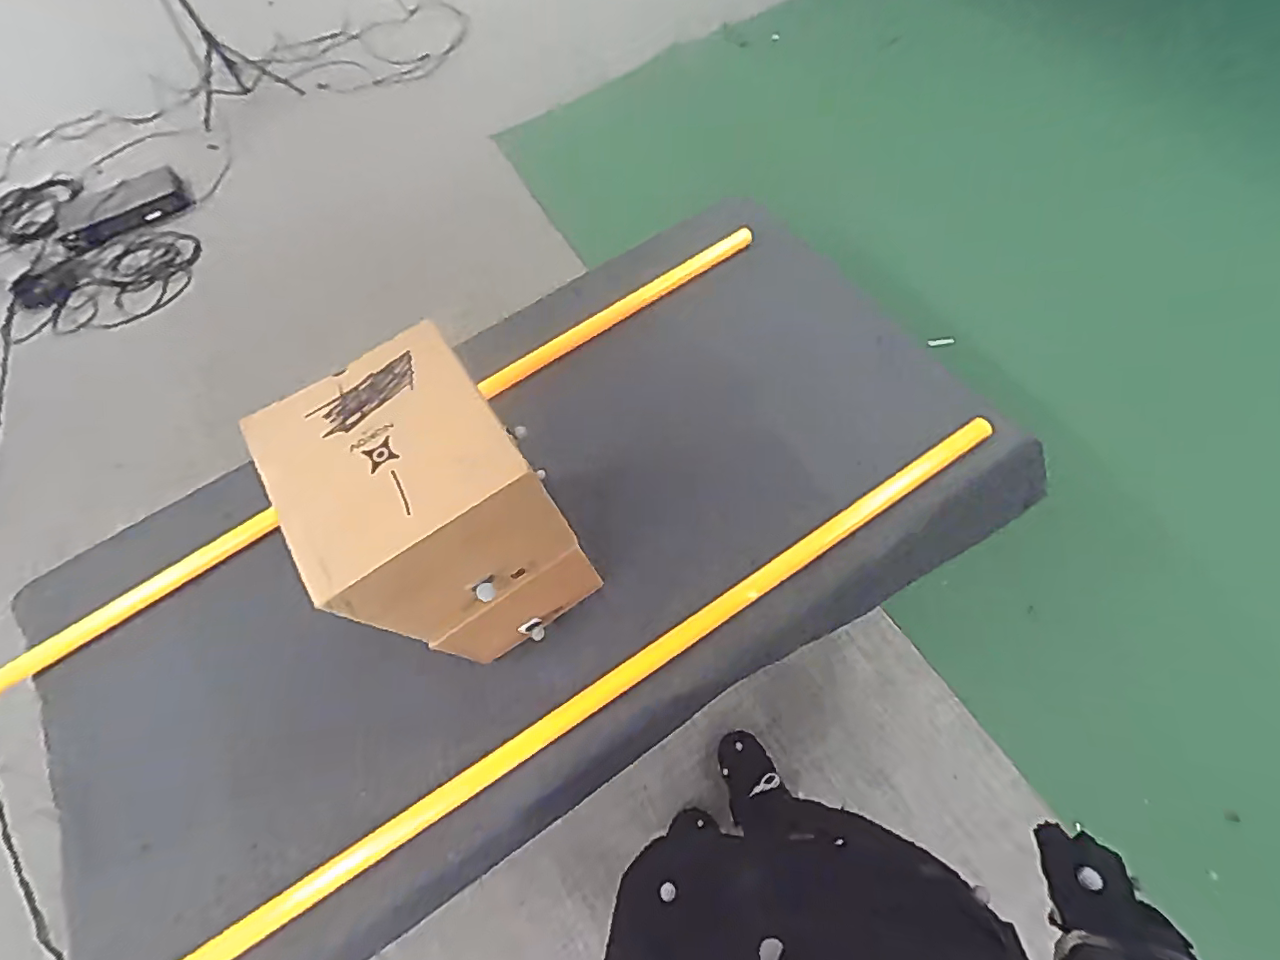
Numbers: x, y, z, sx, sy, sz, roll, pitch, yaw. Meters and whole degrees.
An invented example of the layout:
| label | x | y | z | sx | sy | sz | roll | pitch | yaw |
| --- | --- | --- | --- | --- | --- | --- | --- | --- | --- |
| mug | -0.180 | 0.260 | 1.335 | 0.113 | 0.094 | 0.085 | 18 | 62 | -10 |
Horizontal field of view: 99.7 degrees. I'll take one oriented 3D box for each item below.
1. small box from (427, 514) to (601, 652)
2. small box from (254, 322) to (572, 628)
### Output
| label | x | y | z | sx | sy | sz | roll | pitch | yaw |
| --- | --- | --- | --- | --- | --- | --- | --- | --- | --- |
| small box | -0.166 | 0.076 | 0.624 | 0.168 | 0.176 | 0.179 | -35 | 68 | -9 |
| small box | -0.182 | 0.006 | 0.475 | 0.168 | 0.176 | 0.179 | -34 | 67 | -8 |
